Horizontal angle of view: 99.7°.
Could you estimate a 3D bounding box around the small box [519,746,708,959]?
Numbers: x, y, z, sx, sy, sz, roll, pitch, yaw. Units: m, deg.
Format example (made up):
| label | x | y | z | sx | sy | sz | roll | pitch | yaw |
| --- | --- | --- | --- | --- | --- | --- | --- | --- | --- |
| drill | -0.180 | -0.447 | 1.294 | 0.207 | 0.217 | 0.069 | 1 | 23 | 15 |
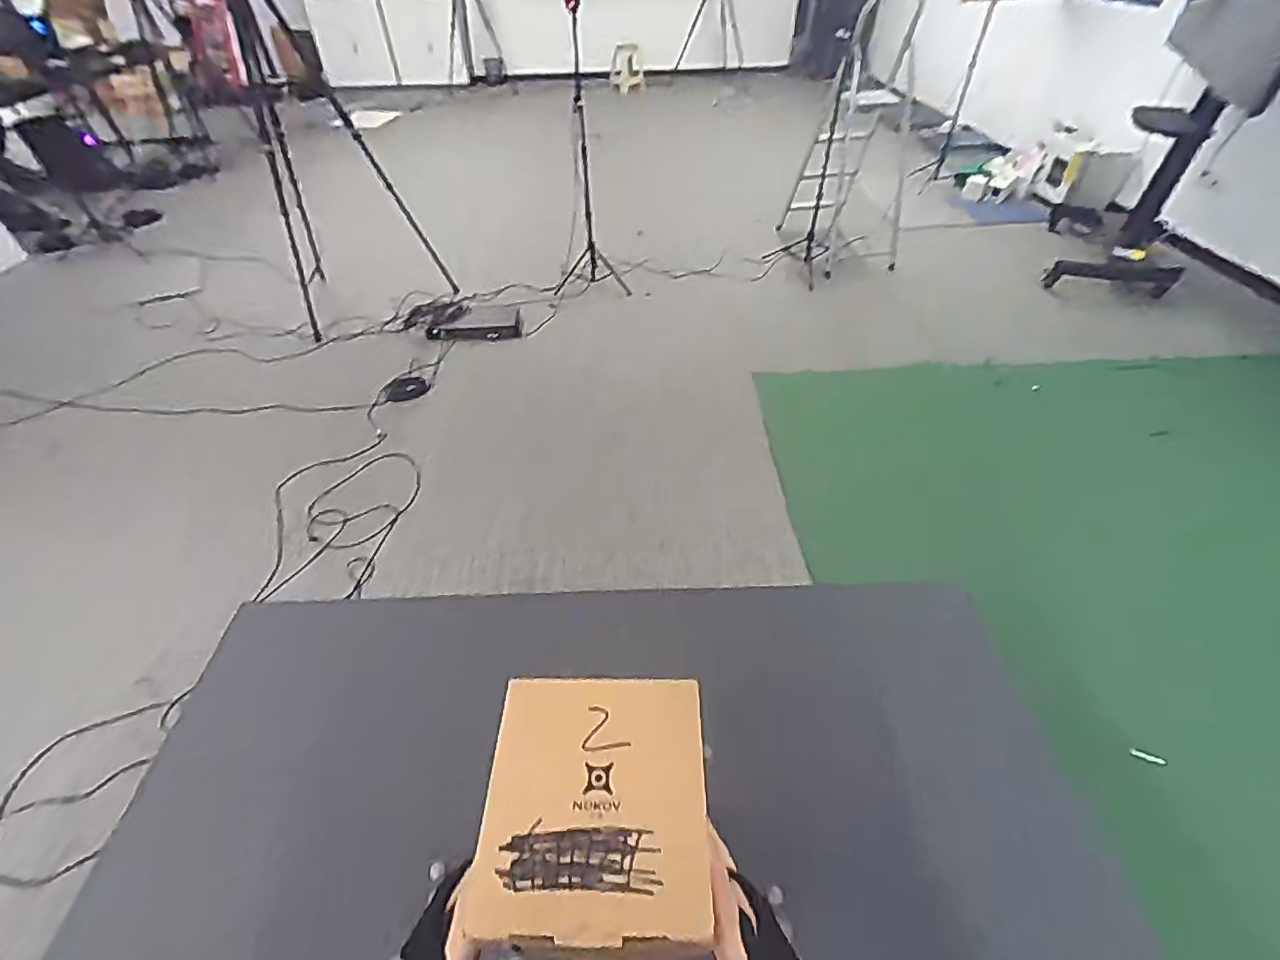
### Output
| label | x | y | z | sx | sy | sz | roll | pitch | yaw |
| --- | --- | --- | --- | --- | --- | --- | --- | --- | --- |
| small box | -0.022 | 0.405 | 0.576 | 0.168 | 0.176 | 0.179 | -1 | 45 | 1 |
